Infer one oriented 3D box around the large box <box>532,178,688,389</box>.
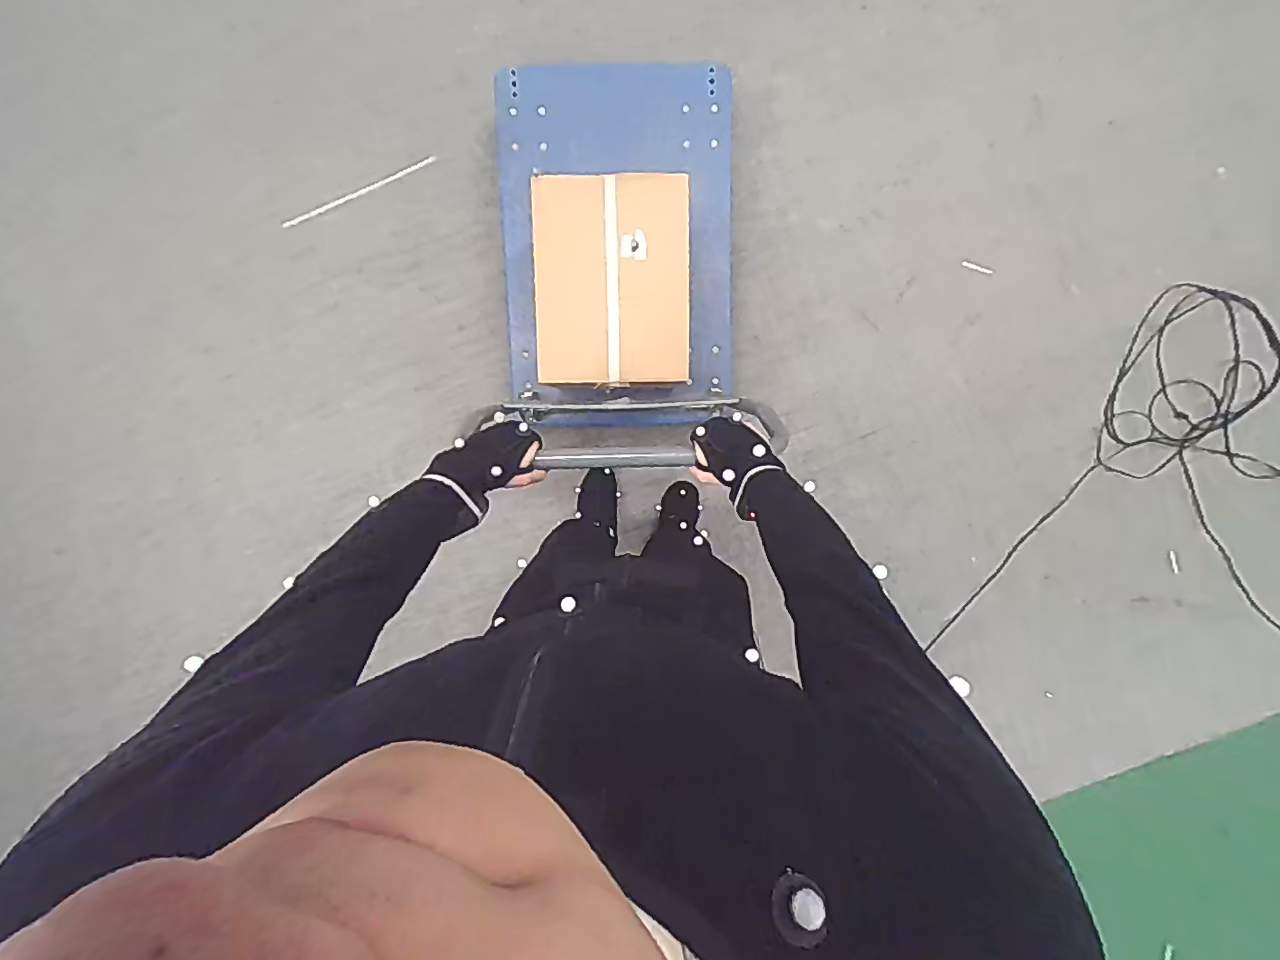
[{"bbox_3d":[-0.060,-0.422,1.251,0.320,0.320,0.408,-1,97,-1],"label":"large box"}]
